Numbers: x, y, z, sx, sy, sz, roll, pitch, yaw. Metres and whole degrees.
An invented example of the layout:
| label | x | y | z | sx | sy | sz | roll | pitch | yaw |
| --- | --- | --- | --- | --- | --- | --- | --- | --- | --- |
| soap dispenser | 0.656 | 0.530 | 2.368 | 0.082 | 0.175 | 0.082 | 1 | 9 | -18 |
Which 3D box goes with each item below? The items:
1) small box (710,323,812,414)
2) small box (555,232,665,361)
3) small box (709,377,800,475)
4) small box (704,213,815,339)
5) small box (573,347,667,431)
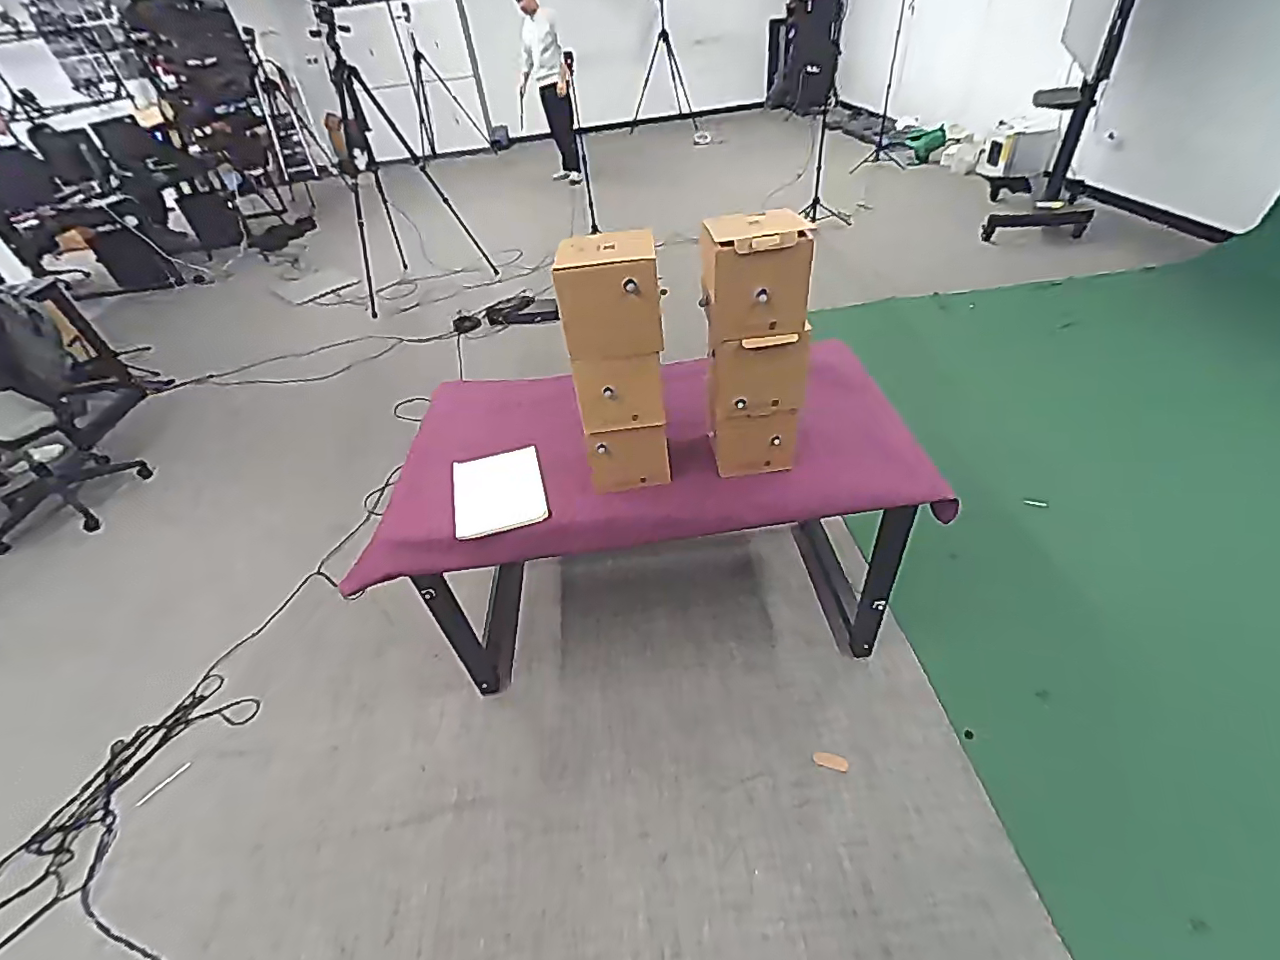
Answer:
| label | x | y | z | sx | sy | sz | roll | pitch | yaw |
| --- | --- | --- | --- | --- | --- | --- | --- | --- | --- |
| small box | 0.238 | -0.245 | 1.098 | 0.168 | 0.176 | 0.179 | -6 | 39 | 0 |
| small box | -0.045 | -0.334 | 0.991 | 0.179 | 0.176 | 0.168 | -6 | 39 | 4 |
| small box | 0.249 | -0.124 | 1.207 | 0.168 | 0.176 | 0.179 | -6 | 40 | 1 |
| small box | 0.210 | -0.369 | 0.993 | 0.168 | 0.176 | 0.179 | -5 | 41 | 1 |
| small box | -0.037 | -0.212 | 1.103 | 0.168 | 0.176 | 0.179 | -6 | 39 | 2 |
